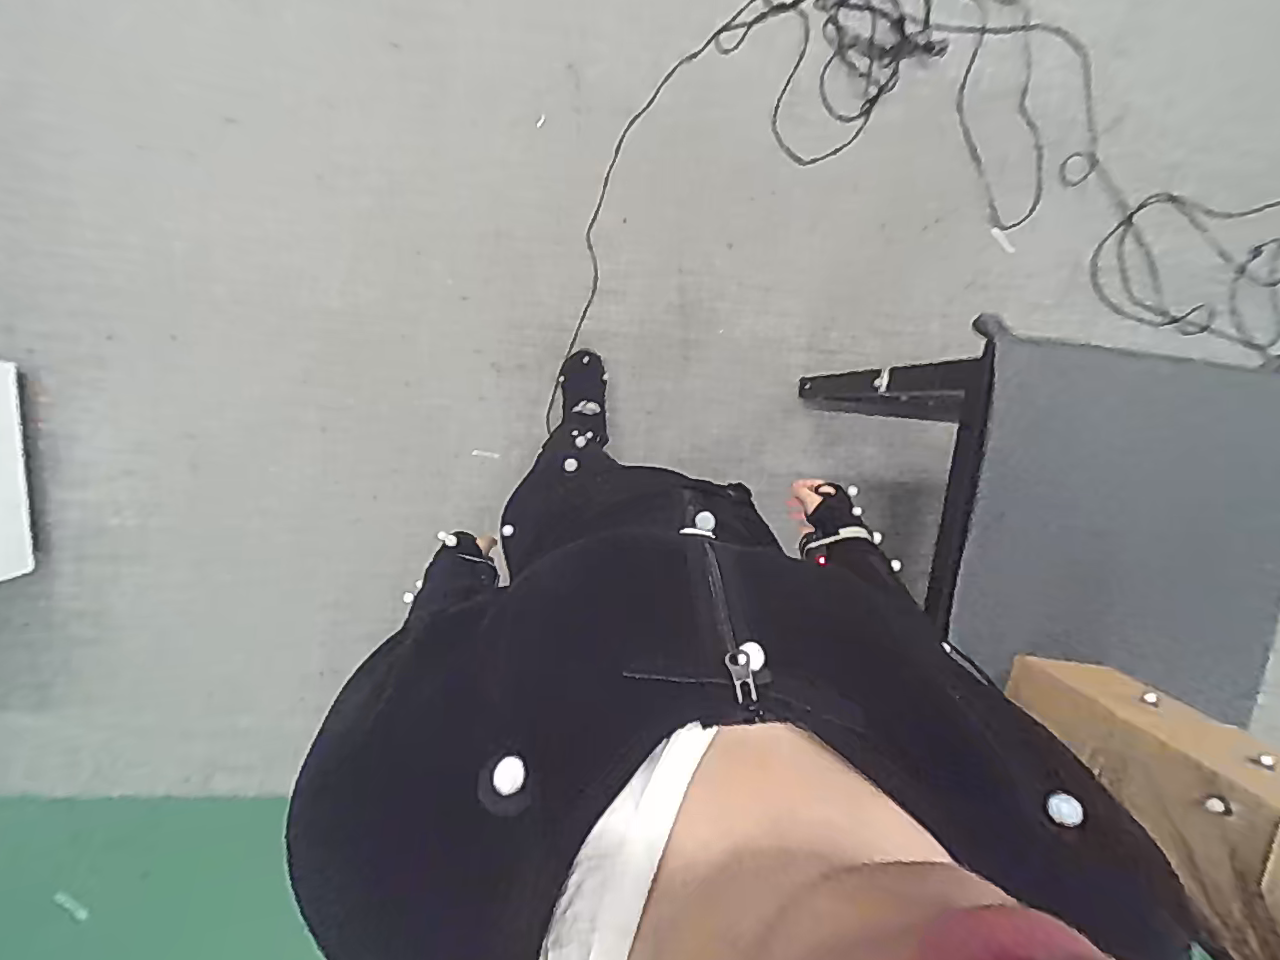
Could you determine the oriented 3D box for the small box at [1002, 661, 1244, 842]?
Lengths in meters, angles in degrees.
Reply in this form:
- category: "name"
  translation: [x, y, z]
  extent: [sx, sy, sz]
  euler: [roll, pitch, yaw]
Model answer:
- category: "small box"
  translation: [0.677, 0.379, 0.778]
  extent: [0.179, 0.176, 0.168]
  euler: [9, 96, -7]
